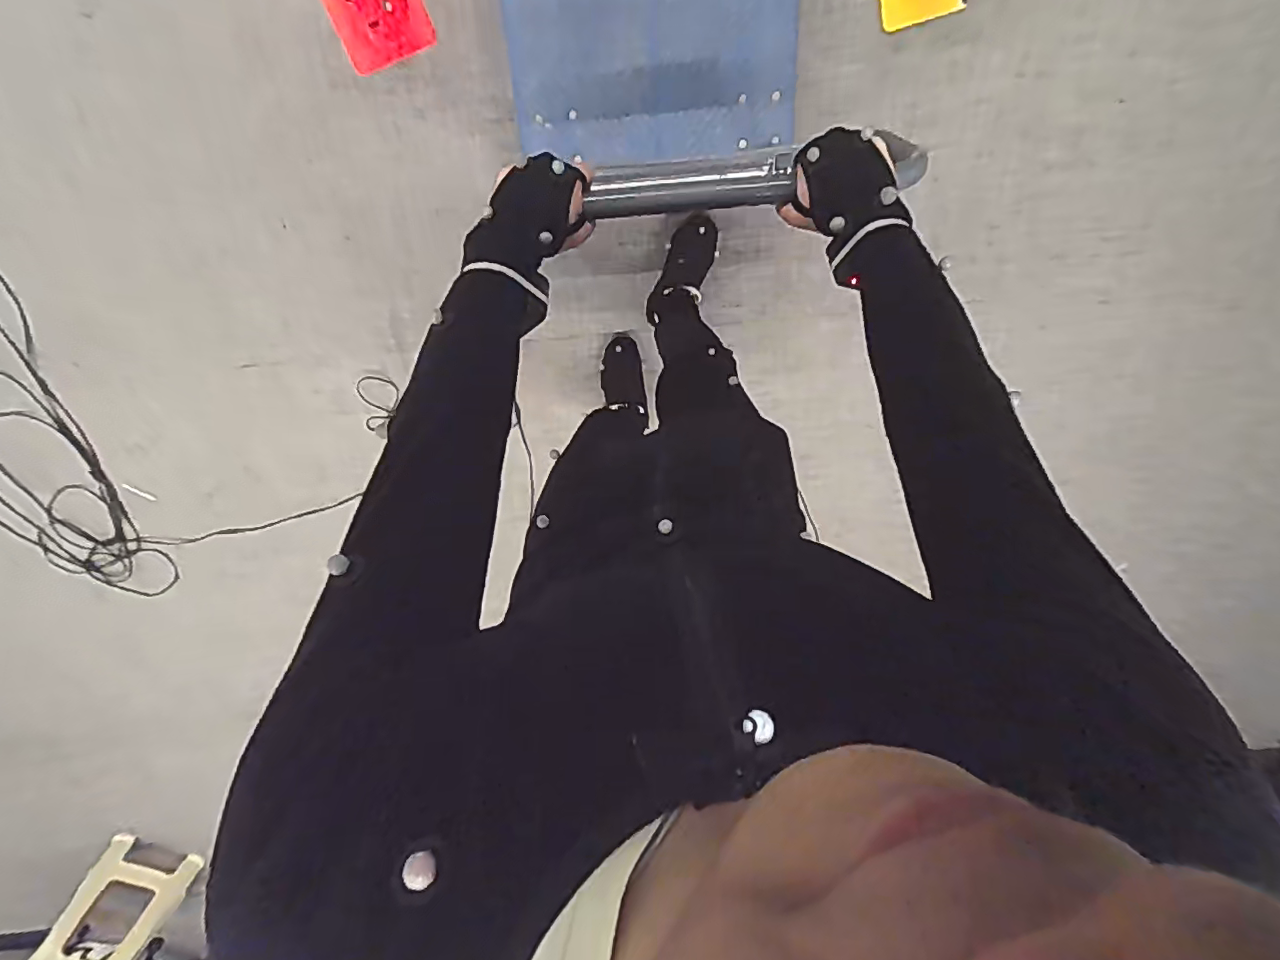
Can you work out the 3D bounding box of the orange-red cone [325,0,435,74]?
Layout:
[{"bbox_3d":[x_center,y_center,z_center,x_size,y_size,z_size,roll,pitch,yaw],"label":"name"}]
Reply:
[{"bbox_3d":[-0.557,-0.936,0.998,0.199,0.360,0.198,-18,113,7],"label":"orange-red cone"}]
